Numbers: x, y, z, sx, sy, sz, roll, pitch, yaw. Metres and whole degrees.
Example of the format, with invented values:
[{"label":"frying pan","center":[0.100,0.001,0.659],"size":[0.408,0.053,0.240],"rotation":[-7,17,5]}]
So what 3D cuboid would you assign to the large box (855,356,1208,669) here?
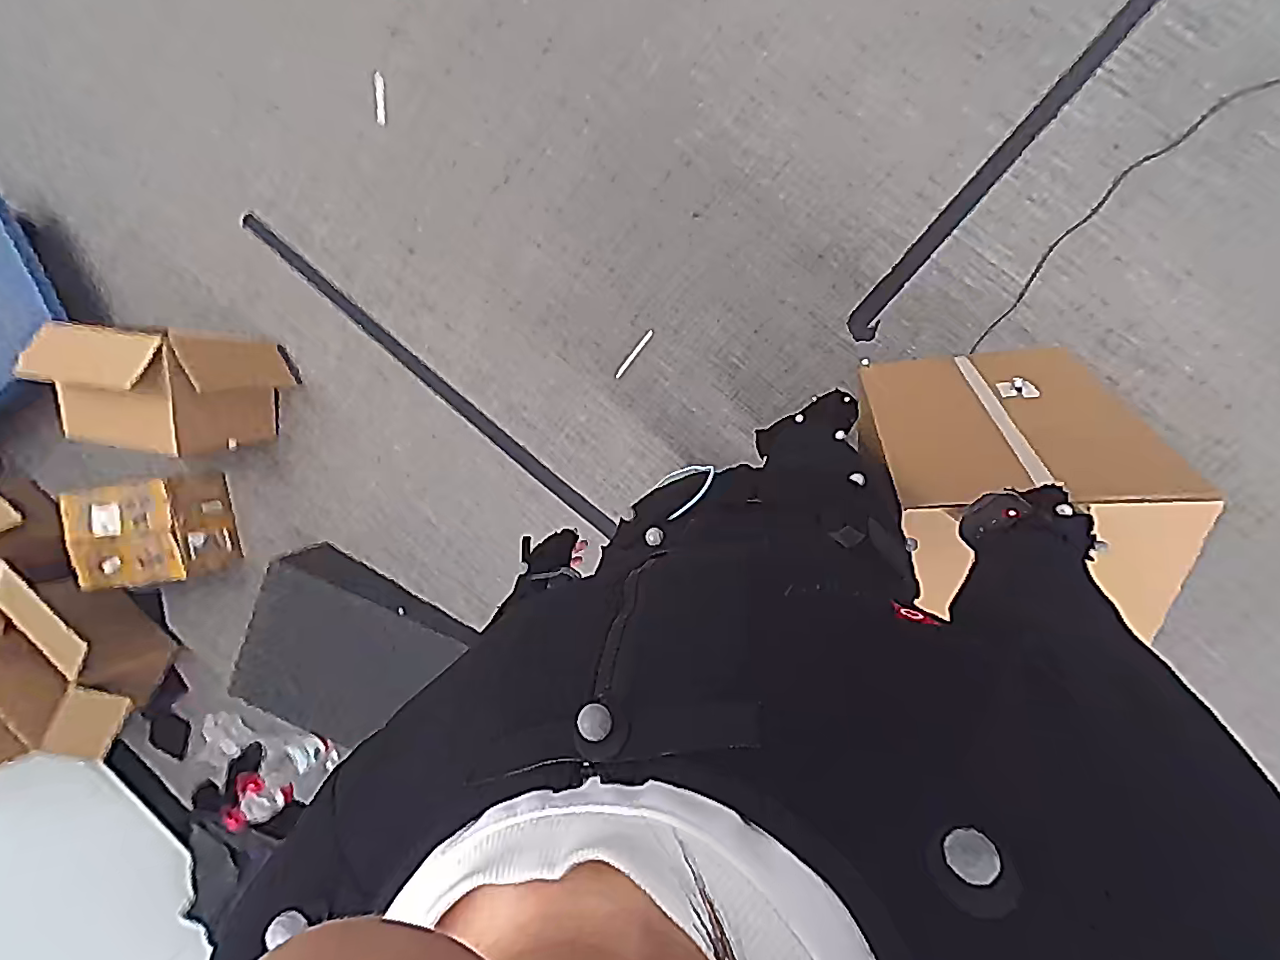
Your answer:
[{"label":"large box","center":[0.533,0.038,0.858],"size":[0.320,0.408,0.320],"rotation":[-1,125,15]}]
